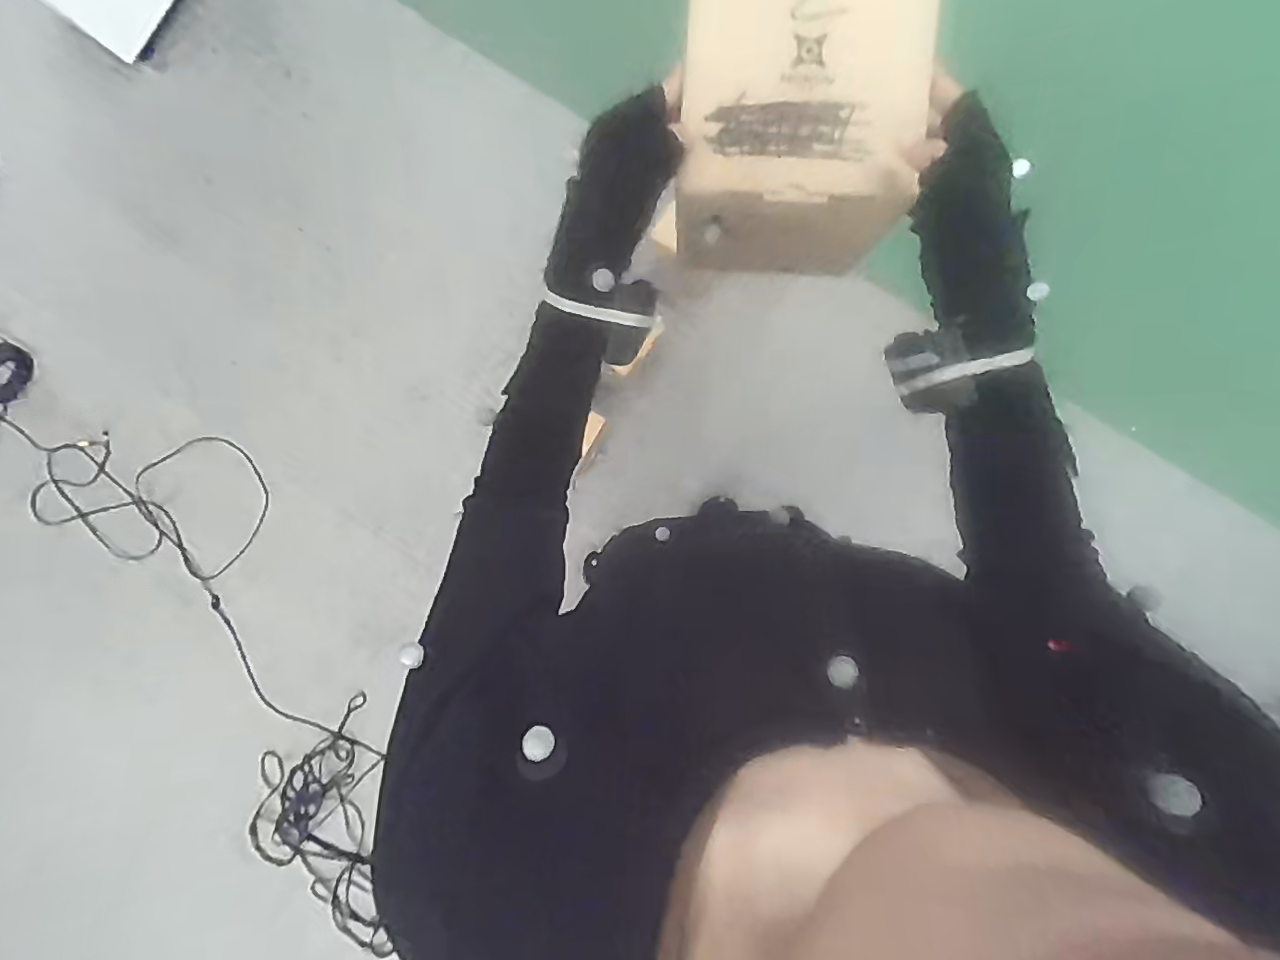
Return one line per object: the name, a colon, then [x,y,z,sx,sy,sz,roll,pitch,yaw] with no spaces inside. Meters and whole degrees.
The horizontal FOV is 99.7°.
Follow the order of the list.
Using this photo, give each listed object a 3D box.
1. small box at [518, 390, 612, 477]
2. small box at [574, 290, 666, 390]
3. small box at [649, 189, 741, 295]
small box: [-0.191,-0.114,1.433,0.179,0.176,0.168,30,92,3]
small box: [-0.047,-0.360,1.434,0.179,0.176,0.168,39,91,4]
small box: [0.143,-0.618,1.431,0.179,0.176,0.168,34,90,5]
